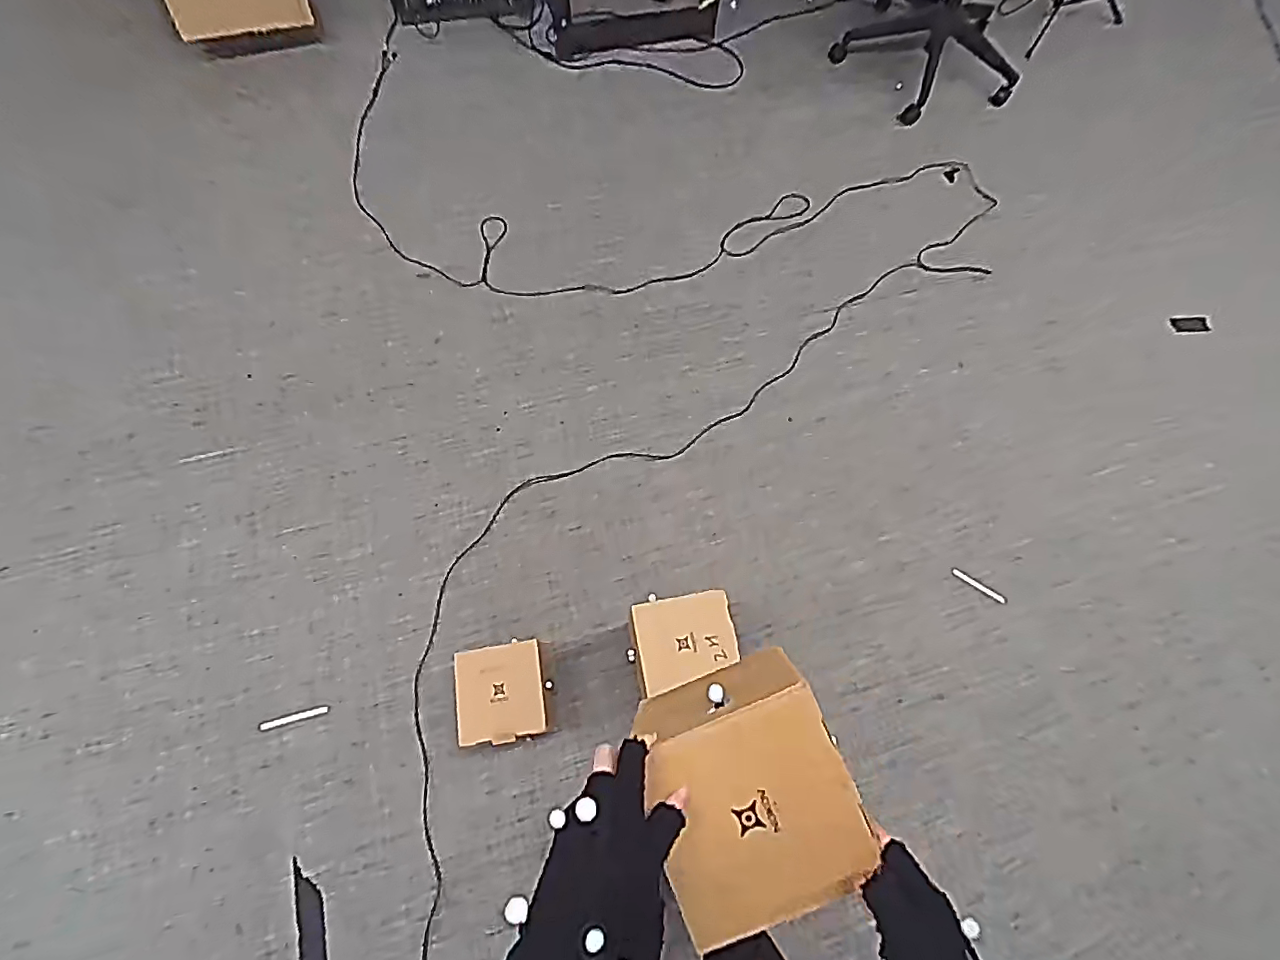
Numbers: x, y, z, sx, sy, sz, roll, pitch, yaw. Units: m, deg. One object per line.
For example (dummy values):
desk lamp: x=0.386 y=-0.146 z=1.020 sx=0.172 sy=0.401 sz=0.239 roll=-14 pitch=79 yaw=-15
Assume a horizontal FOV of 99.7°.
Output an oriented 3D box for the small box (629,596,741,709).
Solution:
small box: x=0.077 y=0.323 z=1.010 sx=0.179 sy=0.176 sz=0.168 roll=-9 pitch=71 yaw=-7

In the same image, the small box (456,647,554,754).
small box: x=-0.275 y=0.450 z=1.123 sx=0.168 sy=0.176 sz=0.179 roll=-8 pitch=71 yaw=-6

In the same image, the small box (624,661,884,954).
small box: x=0.101 y=0.300 z=0.538 sx=0.179 sy=0.176 sz=0.168 roll=-23 pitch=81 yaw=1
